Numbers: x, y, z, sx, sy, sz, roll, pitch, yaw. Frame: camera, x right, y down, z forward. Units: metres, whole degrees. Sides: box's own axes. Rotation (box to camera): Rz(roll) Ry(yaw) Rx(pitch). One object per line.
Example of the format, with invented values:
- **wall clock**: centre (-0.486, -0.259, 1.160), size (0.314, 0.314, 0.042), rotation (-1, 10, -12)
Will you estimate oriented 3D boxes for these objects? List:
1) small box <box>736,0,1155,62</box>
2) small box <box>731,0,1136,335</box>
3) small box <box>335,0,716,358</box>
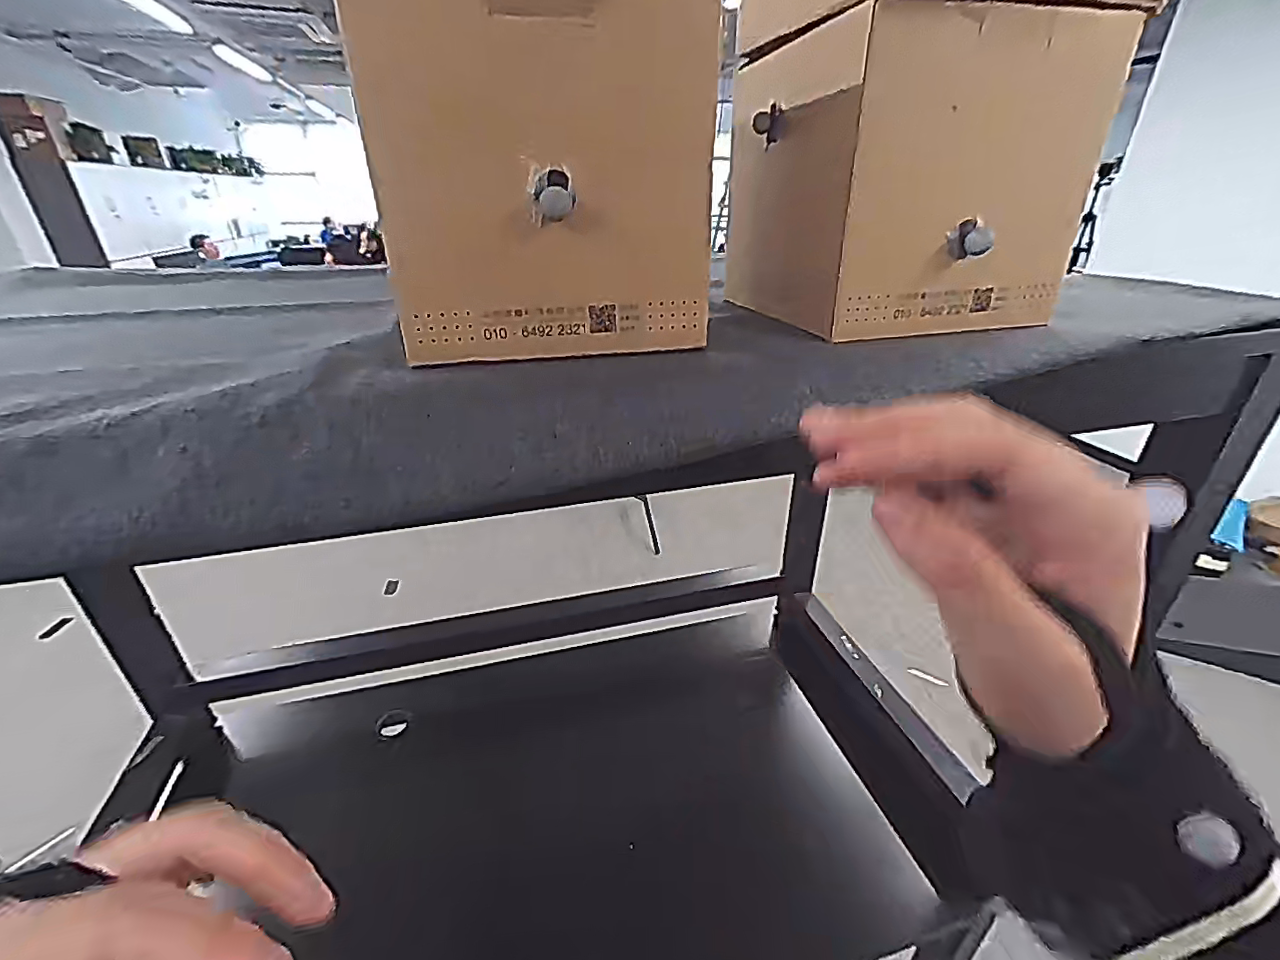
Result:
- **small box**: centre (0.173, -0.348, 0.298), size (0.179, 0.176, 0.168), rotation (-9, 28, -17)
- **small box**: centre (0.172, -0.204, 0.385), size (0.168, 0.176, 0.179), rotation (-8, 28, -12)
- **small box**: centre (-0.059, -0.175, 0.336), size (0.168, 0.176, 0.179), rotation (-6, 27, -11)
